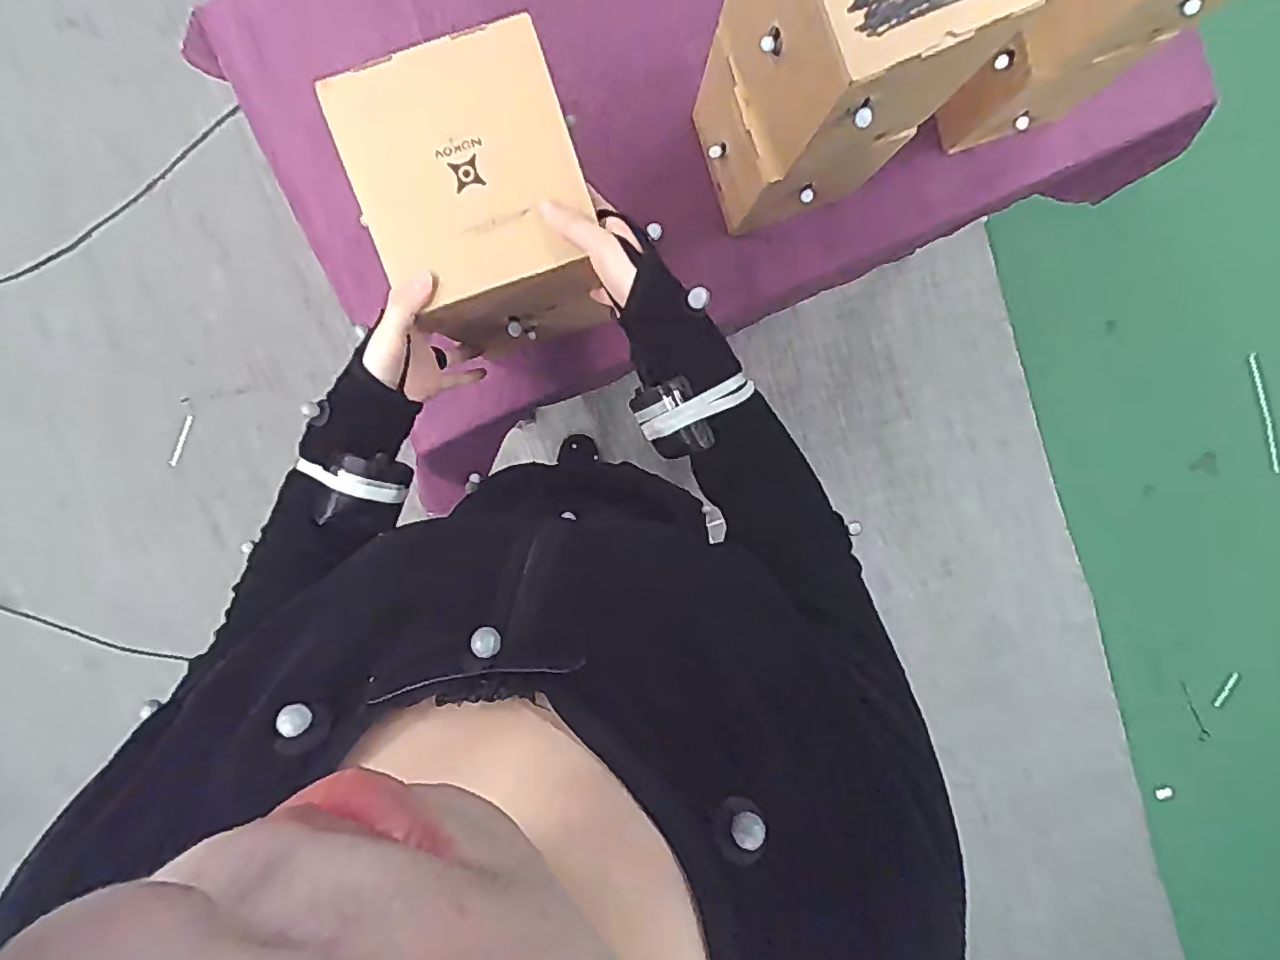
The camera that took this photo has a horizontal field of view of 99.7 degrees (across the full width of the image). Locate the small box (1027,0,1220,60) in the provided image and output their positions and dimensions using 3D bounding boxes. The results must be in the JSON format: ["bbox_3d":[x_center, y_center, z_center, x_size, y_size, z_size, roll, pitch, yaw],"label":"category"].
[{"bbox_3d":[0.482,-0.527,0.488,0.168,0.176,0.179,-20,97,-1],"label":"small box"}]

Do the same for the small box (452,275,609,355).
[{"bbox_3d":[-0.142,-0.259,0.645,0.179,0.176,0.168,-20,97,-2],"label":"small box"}]

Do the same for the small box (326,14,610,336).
[{"bbox_3d":[-0.131,-0.245,0.482,0.168,0.176,0.179,-18,98,-1],"label":"small box"}]

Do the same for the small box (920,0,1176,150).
[{"bbox_3d":[0.472,-0.545,0.652,0.168,0.176,0.179,-18,97,-1],"label":"small box"}]

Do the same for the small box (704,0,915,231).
[{"bbox_3d":[0.184,-0.427,0.647,0.179,0.176,0.168,-19,97,0],"label":"small box"}]
